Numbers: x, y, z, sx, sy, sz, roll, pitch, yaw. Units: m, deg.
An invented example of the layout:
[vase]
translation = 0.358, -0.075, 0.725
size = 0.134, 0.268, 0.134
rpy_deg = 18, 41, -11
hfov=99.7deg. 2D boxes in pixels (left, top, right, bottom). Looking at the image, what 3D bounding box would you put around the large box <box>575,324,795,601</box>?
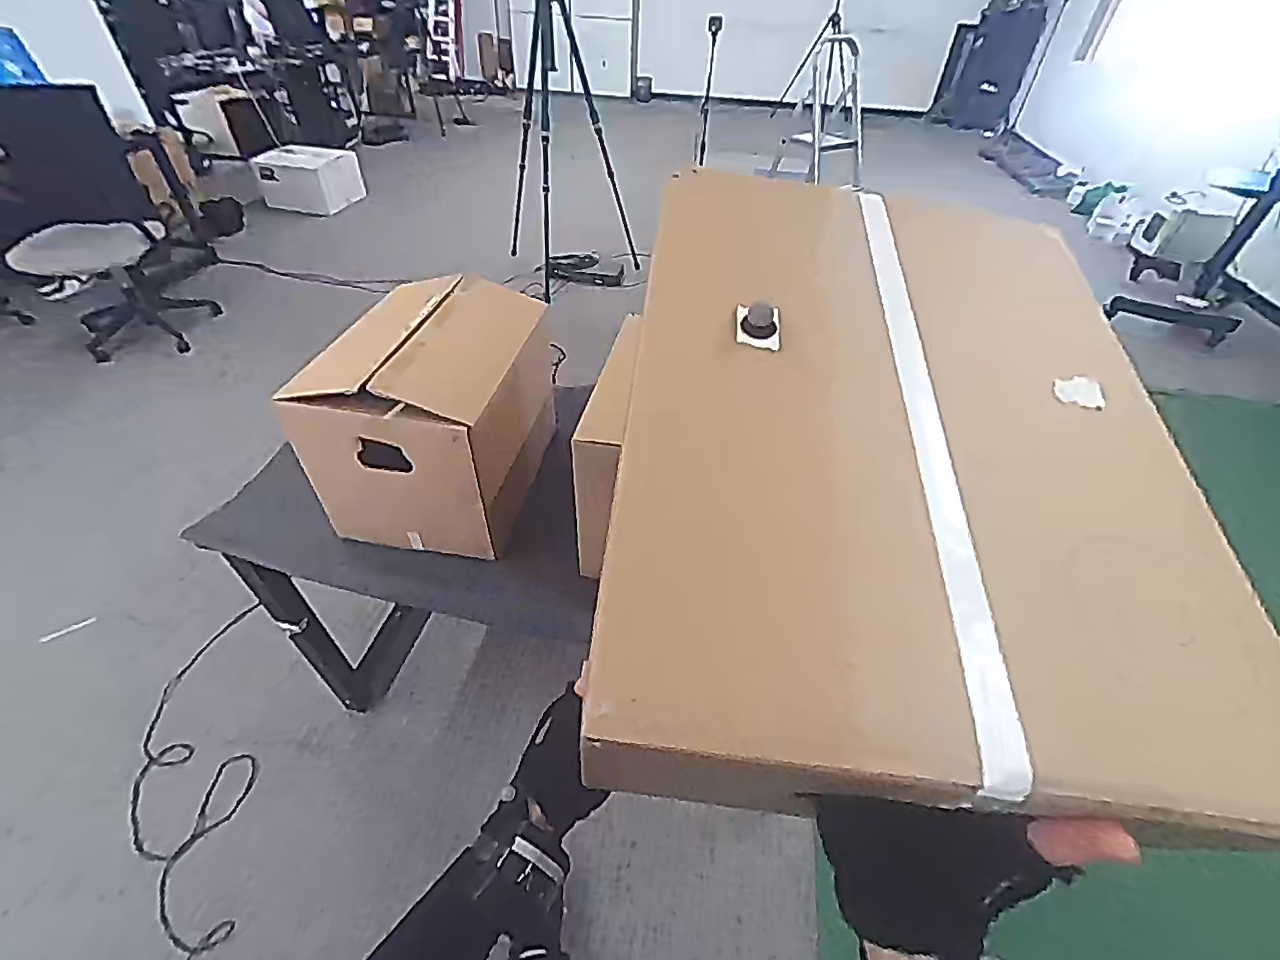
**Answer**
[large box]
translation = 0.085, -0.044, 0.983
size = 0.320, 0.320, 0.408
rpy_deg = 8, 42, 6
